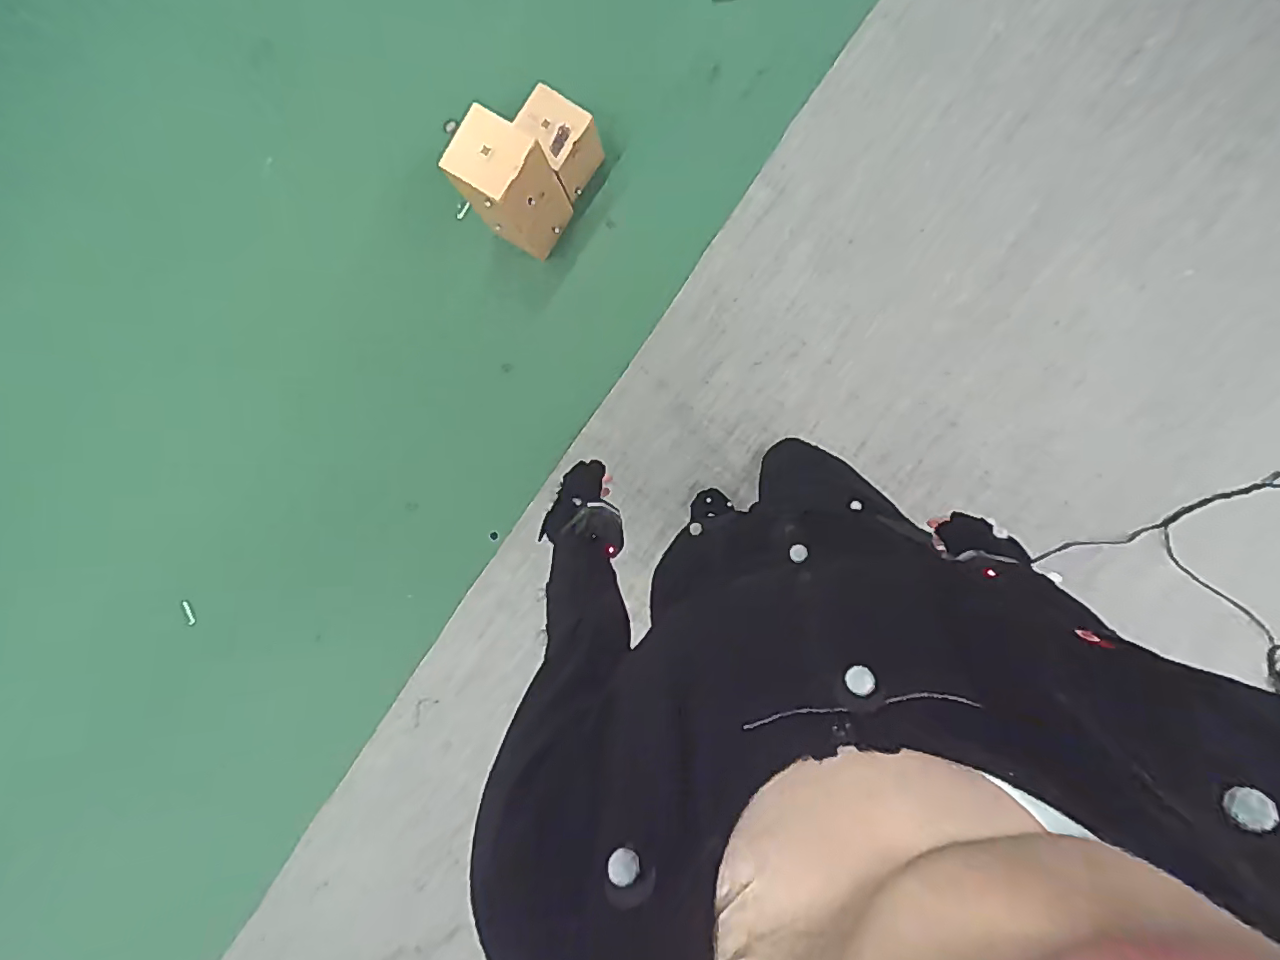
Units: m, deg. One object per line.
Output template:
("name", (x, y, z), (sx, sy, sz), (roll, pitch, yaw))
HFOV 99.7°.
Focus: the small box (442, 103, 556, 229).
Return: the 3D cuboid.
("small box", (-0.329, -0.738, 1.293), (0.179, 0.176, 0.168), (32, 93, 5))
